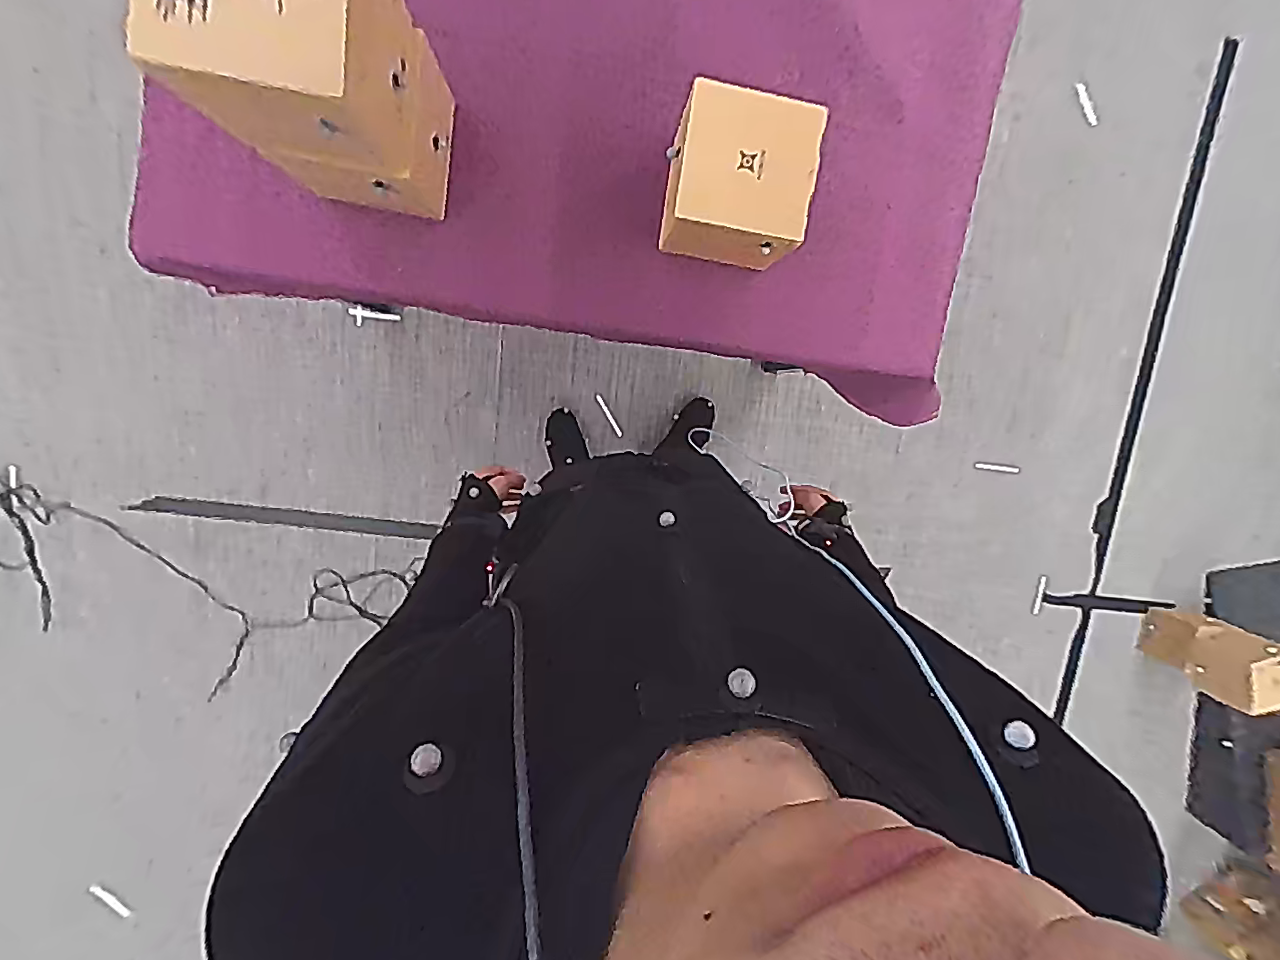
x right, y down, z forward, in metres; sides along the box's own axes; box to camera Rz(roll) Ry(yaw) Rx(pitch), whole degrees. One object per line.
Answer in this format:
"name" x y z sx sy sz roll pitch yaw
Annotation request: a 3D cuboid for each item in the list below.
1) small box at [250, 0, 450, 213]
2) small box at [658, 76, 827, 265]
"small box" -0.354 -0.461 0.690 0.179 0.176 0.168 8 99 -8
"small box" 0.128 -0.412 0.753 0.179 0.176 0.168 8 99 -8
